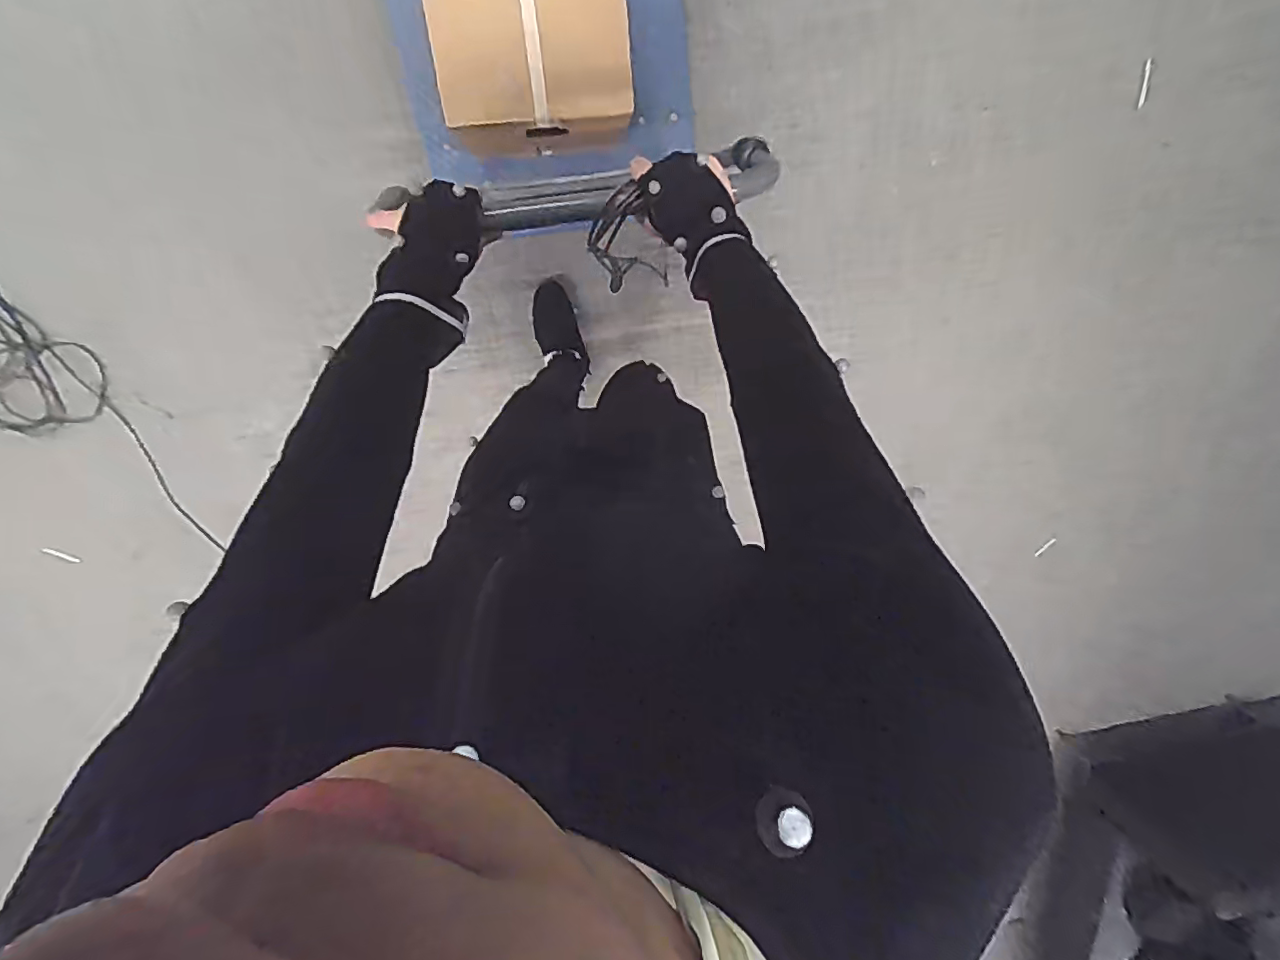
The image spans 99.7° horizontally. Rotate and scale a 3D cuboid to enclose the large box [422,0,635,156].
[{"bbox_3d":[-0.192,-0.832,0.940,0.320,0.320,0.408,-7,113,-4],"label":"large box"}]
